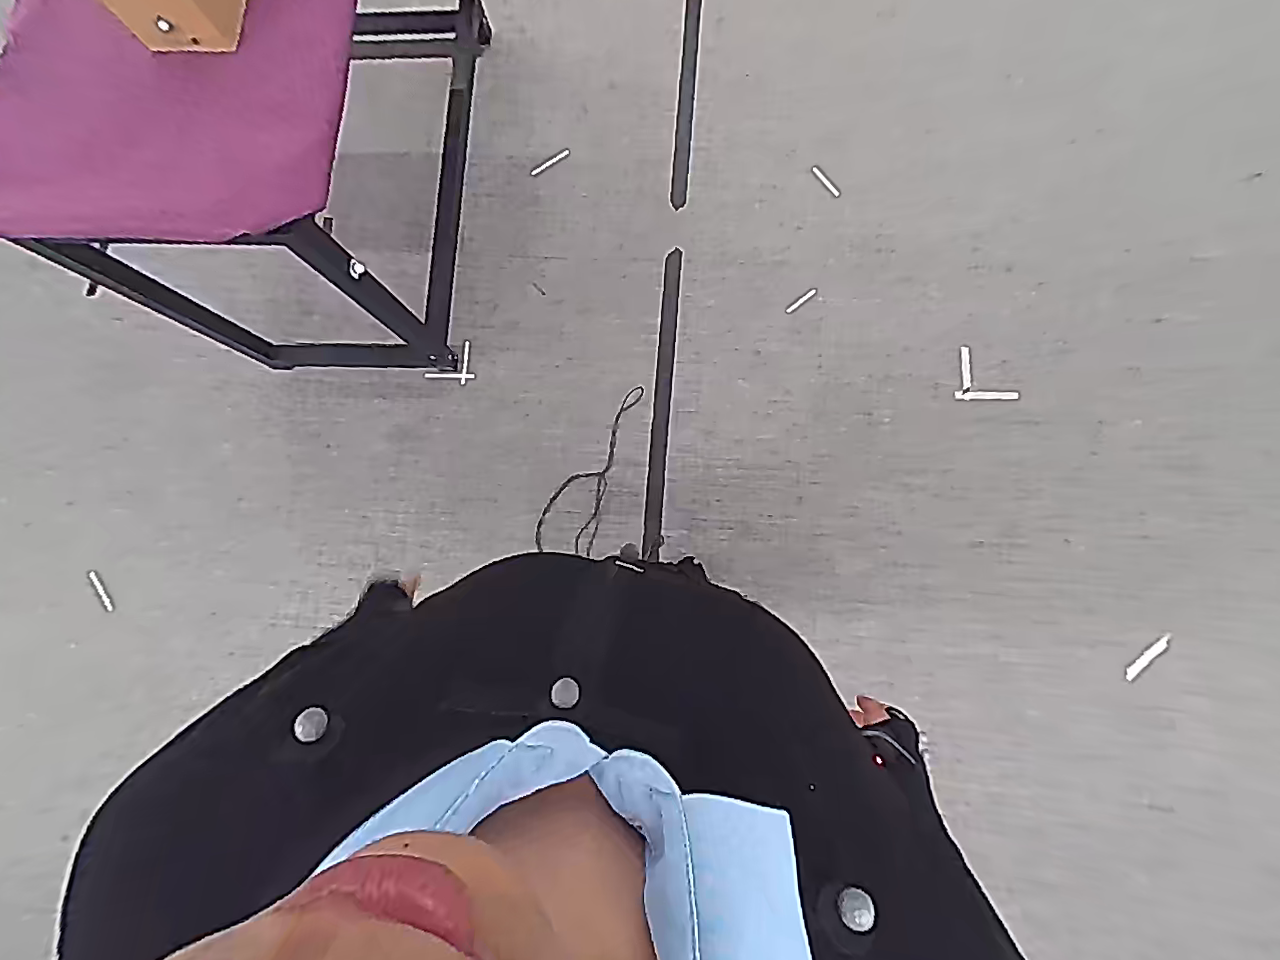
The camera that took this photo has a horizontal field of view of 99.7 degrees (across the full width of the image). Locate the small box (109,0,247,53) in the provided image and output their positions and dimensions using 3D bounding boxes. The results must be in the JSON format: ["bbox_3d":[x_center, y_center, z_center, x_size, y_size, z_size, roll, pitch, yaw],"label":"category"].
[{"bbox_3d":[-0.793,-0.861,0.897,0.168,0.176,0.179,4,82,5],"label":"small box"}]
